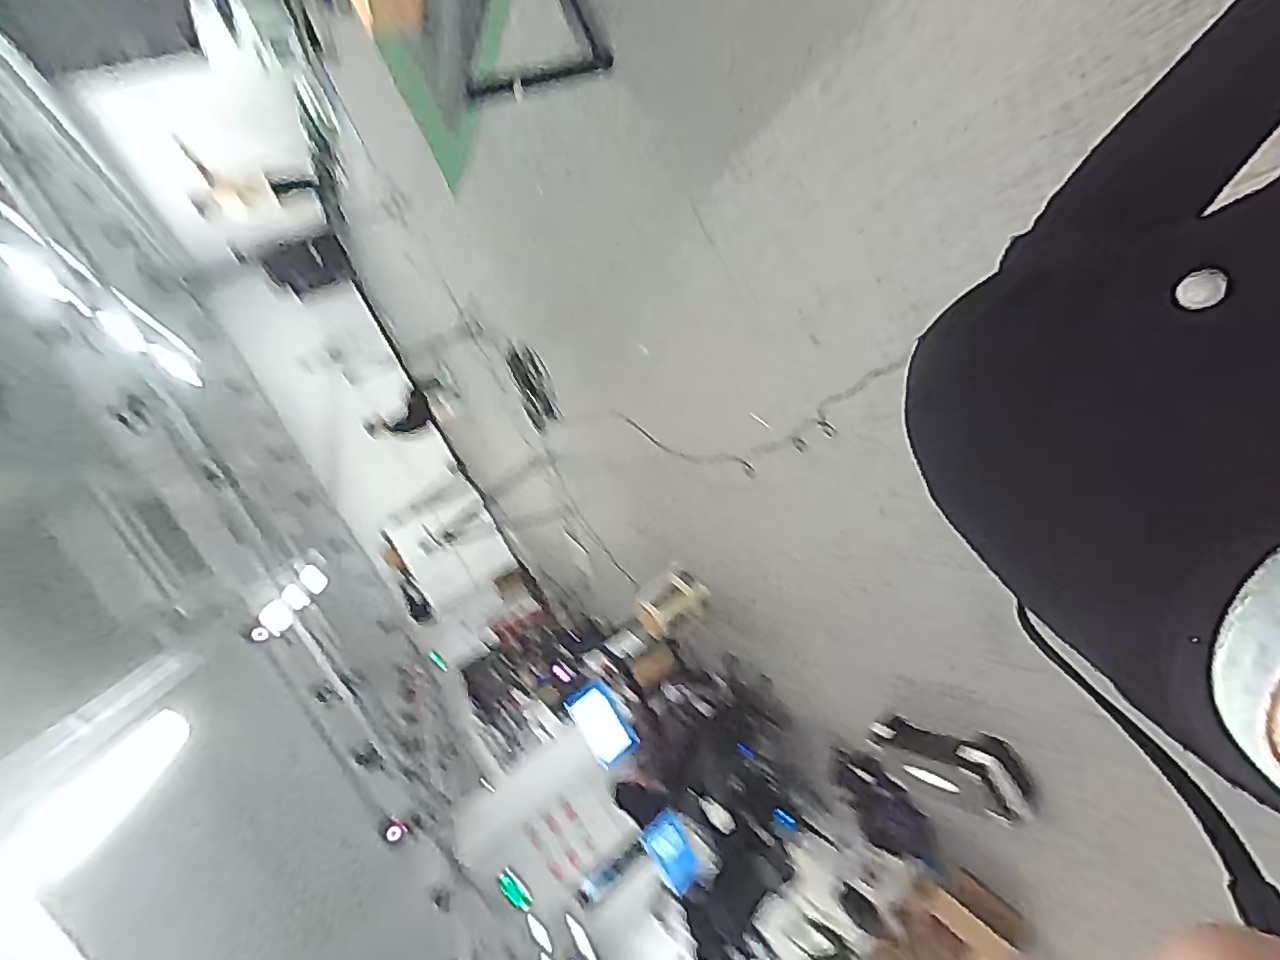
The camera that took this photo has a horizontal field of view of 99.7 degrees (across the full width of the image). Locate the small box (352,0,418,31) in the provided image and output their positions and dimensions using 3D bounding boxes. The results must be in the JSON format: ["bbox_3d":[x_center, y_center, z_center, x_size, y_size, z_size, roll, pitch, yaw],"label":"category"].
[{"bbox_3d":[-0.778,-1.507,1.616,0.179,0.176,0.168,62,156,-8],"label":"small box"}]
